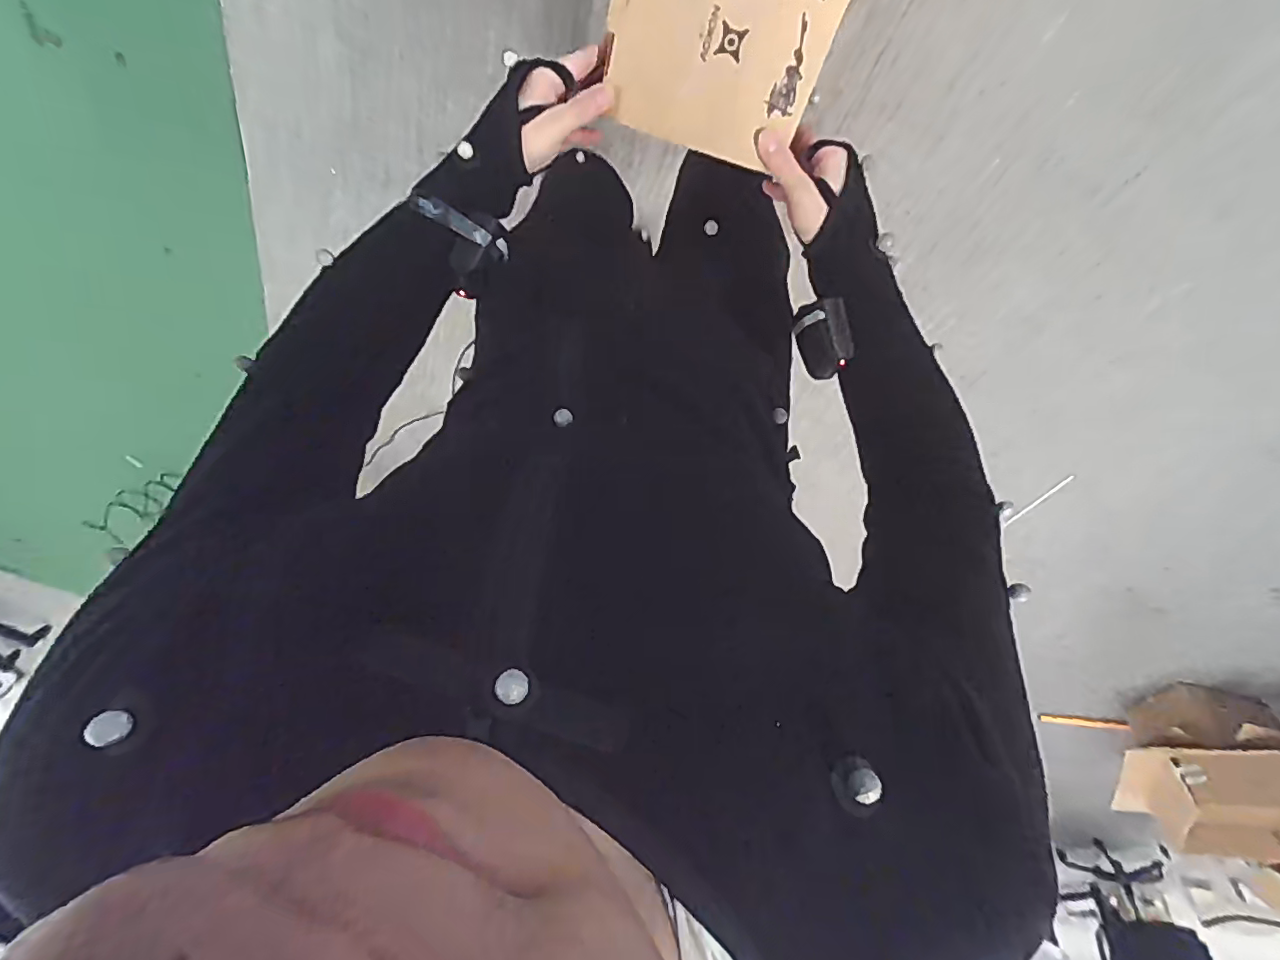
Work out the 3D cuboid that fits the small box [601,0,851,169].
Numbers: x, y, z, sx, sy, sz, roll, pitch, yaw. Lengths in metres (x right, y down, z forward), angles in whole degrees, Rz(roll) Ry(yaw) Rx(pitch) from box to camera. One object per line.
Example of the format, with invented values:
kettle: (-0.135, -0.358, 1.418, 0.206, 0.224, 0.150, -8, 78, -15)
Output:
small box: (0.077, -0.420, 0.494, 0.179, 0.176, 0.168, 15, 134, -7)
